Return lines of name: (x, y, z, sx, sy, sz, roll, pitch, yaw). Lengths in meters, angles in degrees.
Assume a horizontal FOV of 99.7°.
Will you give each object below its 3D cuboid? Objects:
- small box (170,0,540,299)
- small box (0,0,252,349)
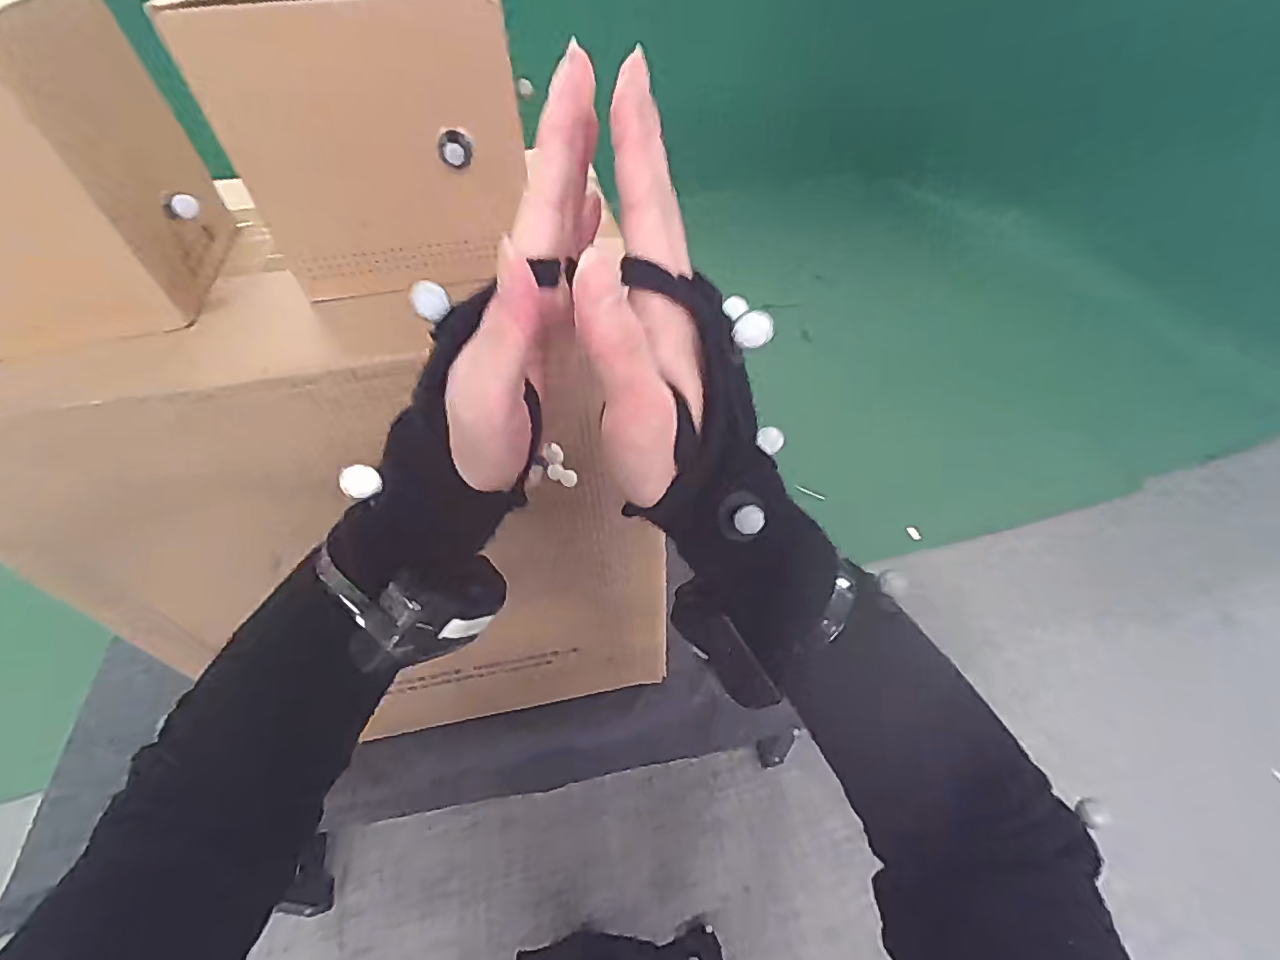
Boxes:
small box: (-0.174, -0.259, 0.403, 0.179, 0.176, 0.168, -11, 49, -5)
small box: (-0.419, -0.208, 0.366, 0.179, 0.176, 0.168, -11, 53, -4)
